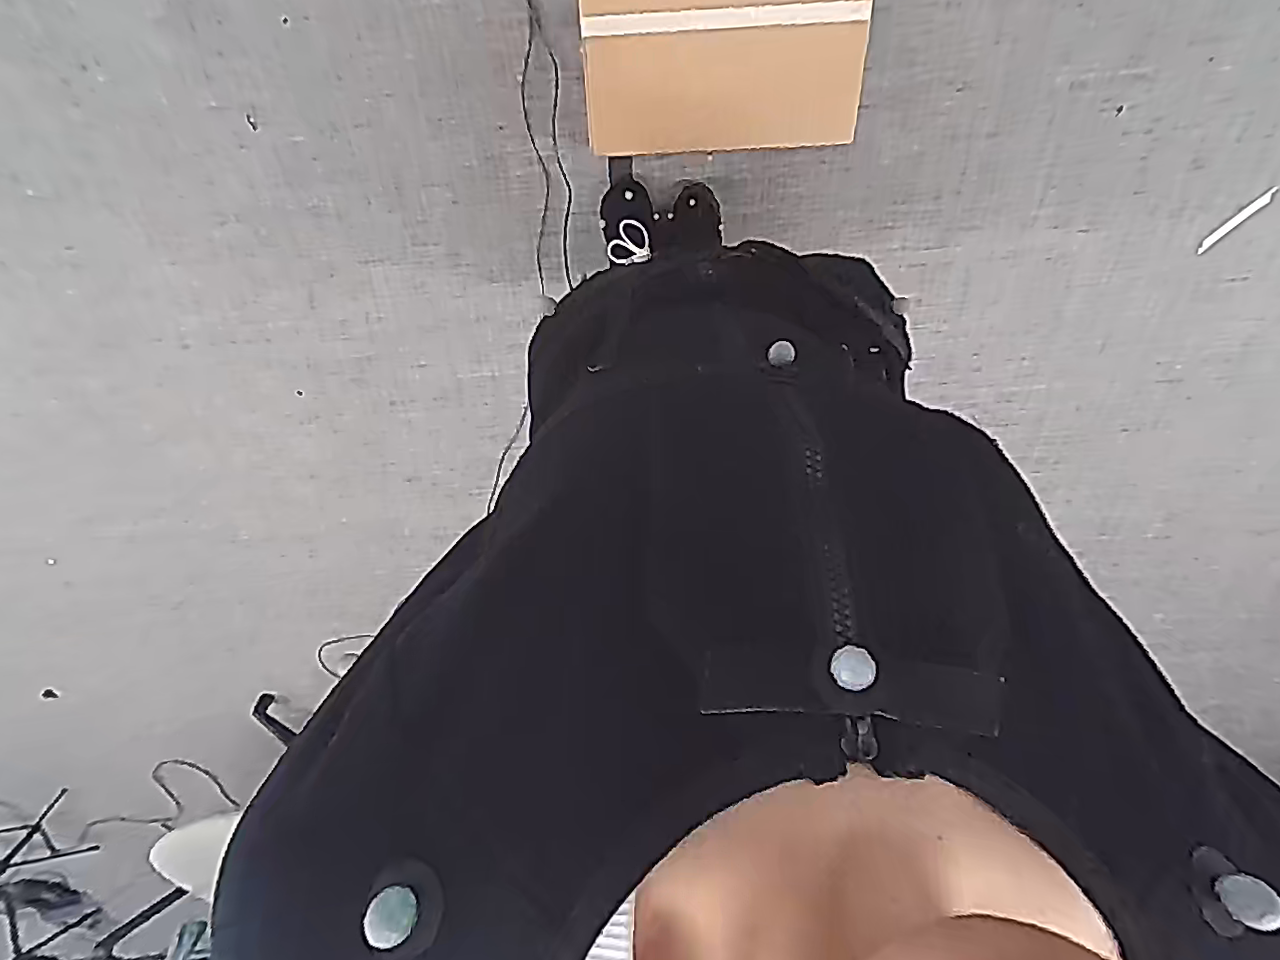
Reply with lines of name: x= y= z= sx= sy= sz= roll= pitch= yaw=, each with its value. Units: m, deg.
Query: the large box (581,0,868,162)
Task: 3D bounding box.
large box: x=0.117 y=-0.717 z=0.888 sx=0.408 sy=0.320 sz=0.320 roll=-2 pitch=122 yaw=1
